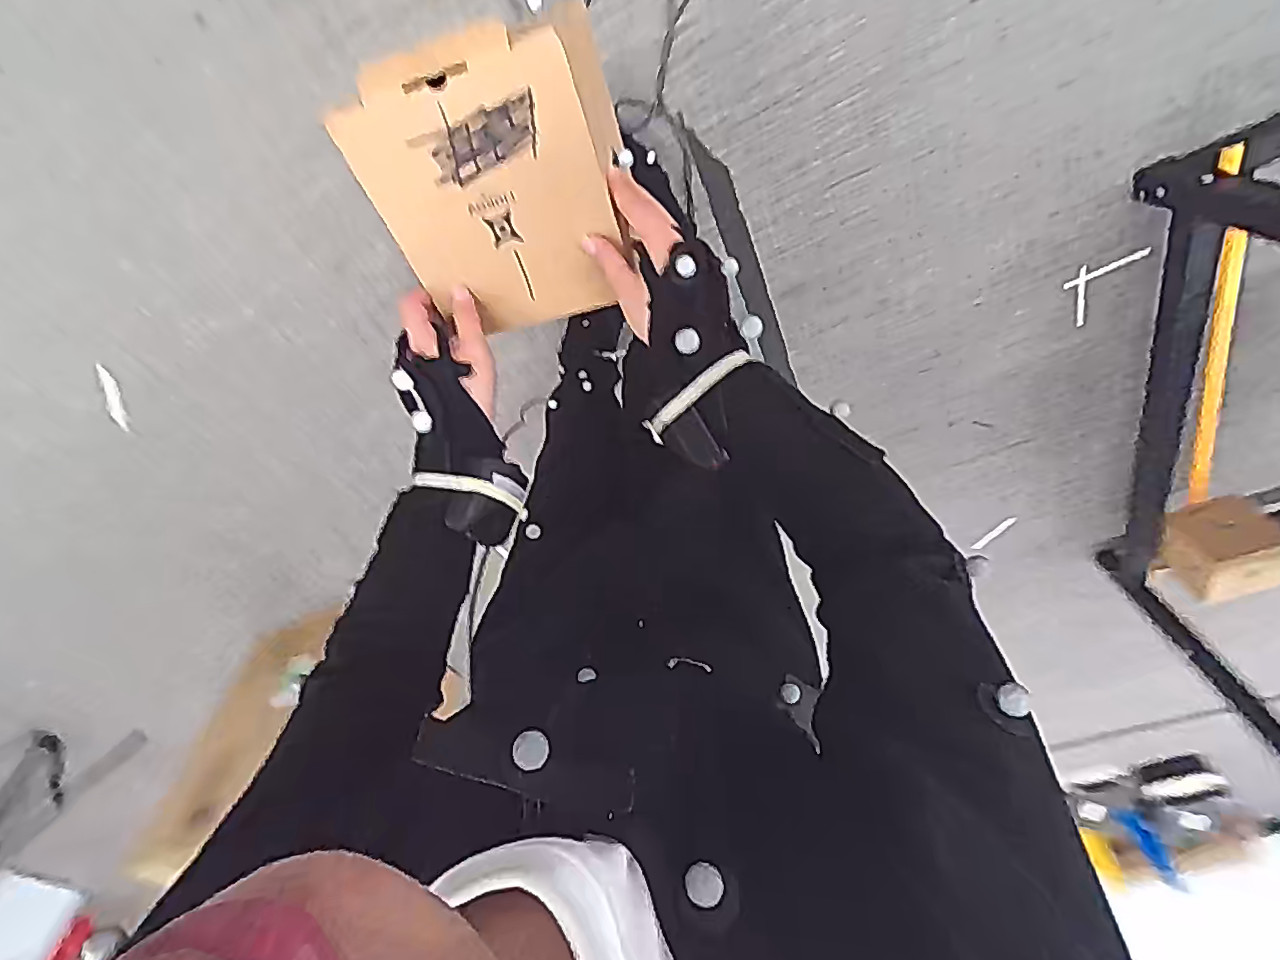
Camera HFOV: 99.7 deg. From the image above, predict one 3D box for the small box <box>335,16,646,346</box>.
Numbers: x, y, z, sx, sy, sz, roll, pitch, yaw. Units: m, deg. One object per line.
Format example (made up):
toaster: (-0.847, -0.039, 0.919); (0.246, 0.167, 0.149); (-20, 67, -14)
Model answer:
small box: (-0.095, -0.242, 0.440); (0.168, 0.176, 0.179); (-9, 137, 12)

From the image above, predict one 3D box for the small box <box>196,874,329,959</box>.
small box: (-0.869, 1.034, 1.248); (0.168, 0.176, 0.179); (-24, 128, 15)

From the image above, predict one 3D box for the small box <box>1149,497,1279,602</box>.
small box: (1.407, 0.164, 1.329); (0.168, 0.176, 0.179); (-23, 127, 16)
